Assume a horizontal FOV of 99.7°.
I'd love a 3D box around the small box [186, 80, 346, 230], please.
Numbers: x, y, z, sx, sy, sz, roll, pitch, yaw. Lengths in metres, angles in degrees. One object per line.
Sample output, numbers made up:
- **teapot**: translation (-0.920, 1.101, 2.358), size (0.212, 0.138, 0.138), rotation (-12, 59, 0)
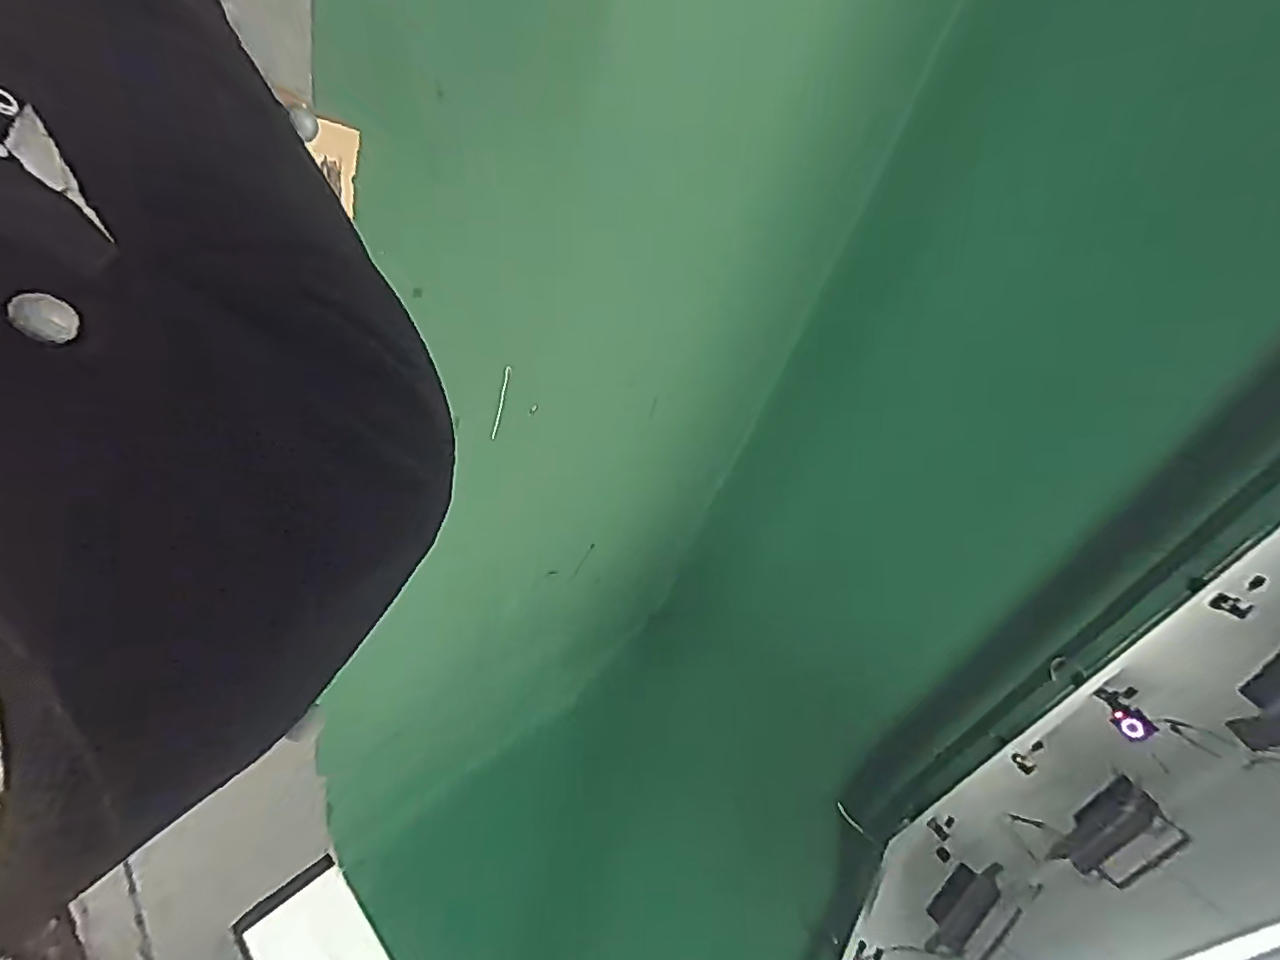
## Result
- **small box**: translation (-0.642, -0.555, 0.931), size (0.179, 0.176, 0.168), rotation (-18, 137, -51)
